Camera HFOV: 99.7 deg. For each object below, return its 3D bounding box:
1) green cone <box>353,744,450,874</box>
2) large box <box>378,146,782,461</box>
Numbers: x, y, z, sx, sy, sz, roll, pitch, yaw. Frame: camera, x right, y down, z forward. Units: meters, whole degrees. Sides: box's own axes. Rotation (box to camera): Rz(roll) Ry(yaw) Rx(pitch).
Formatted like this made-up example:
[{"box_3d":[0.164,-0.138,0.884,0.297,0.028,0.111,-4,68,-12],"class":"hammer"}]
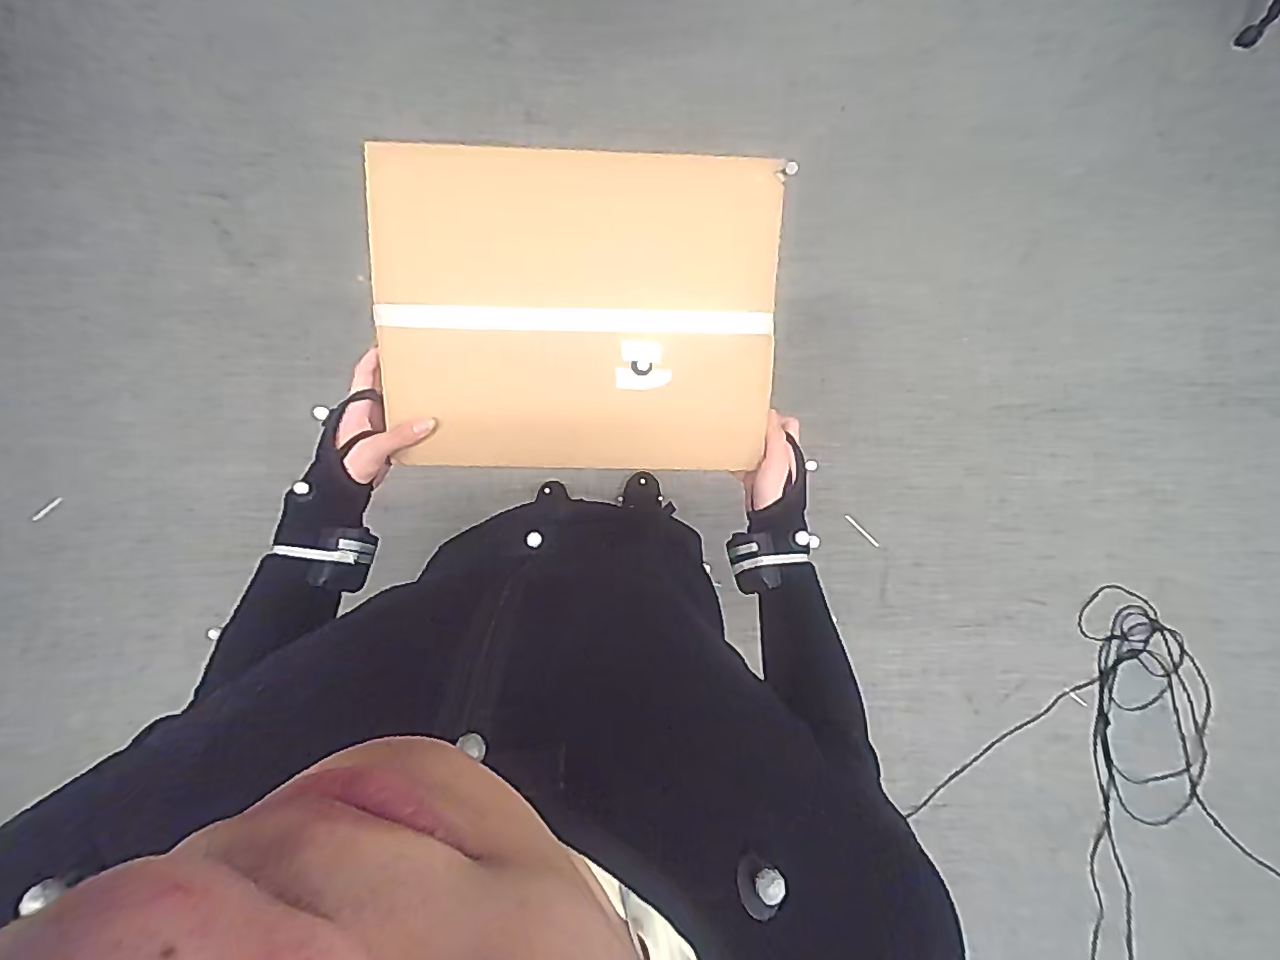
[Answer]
[{"box_3d":[-0.666,0.893,1.441,0.200,0.368,0.202,6,91,-3],"class":"green cone"},{"box_3d":[-0.066,-0.203,0.706,0.408,0.320,0.320,0,103,-3],"class":"large box"}]
